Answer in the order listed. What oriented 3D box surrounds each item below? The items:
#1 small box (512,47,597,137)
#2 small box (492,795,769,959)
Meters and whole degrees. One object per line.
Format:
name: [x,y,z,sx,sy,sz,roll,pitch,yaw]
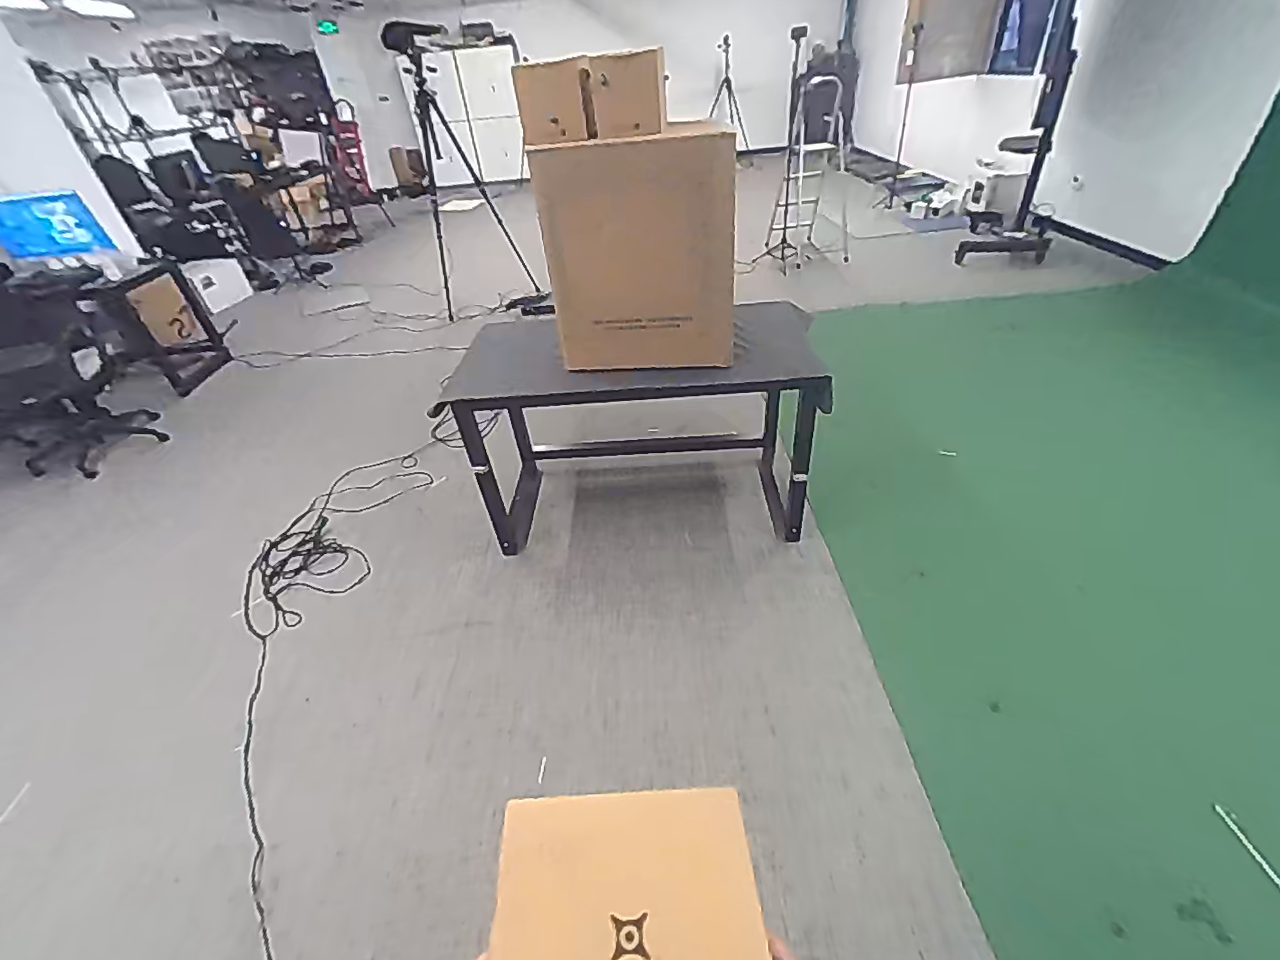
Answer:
small box: [-0.209,-0.987,1.379,0.168,0.176,0.179,-1,40,8]
small box: [-0.010,0.344,0.364,0.168,0.176,0.179,0,36,-5]
